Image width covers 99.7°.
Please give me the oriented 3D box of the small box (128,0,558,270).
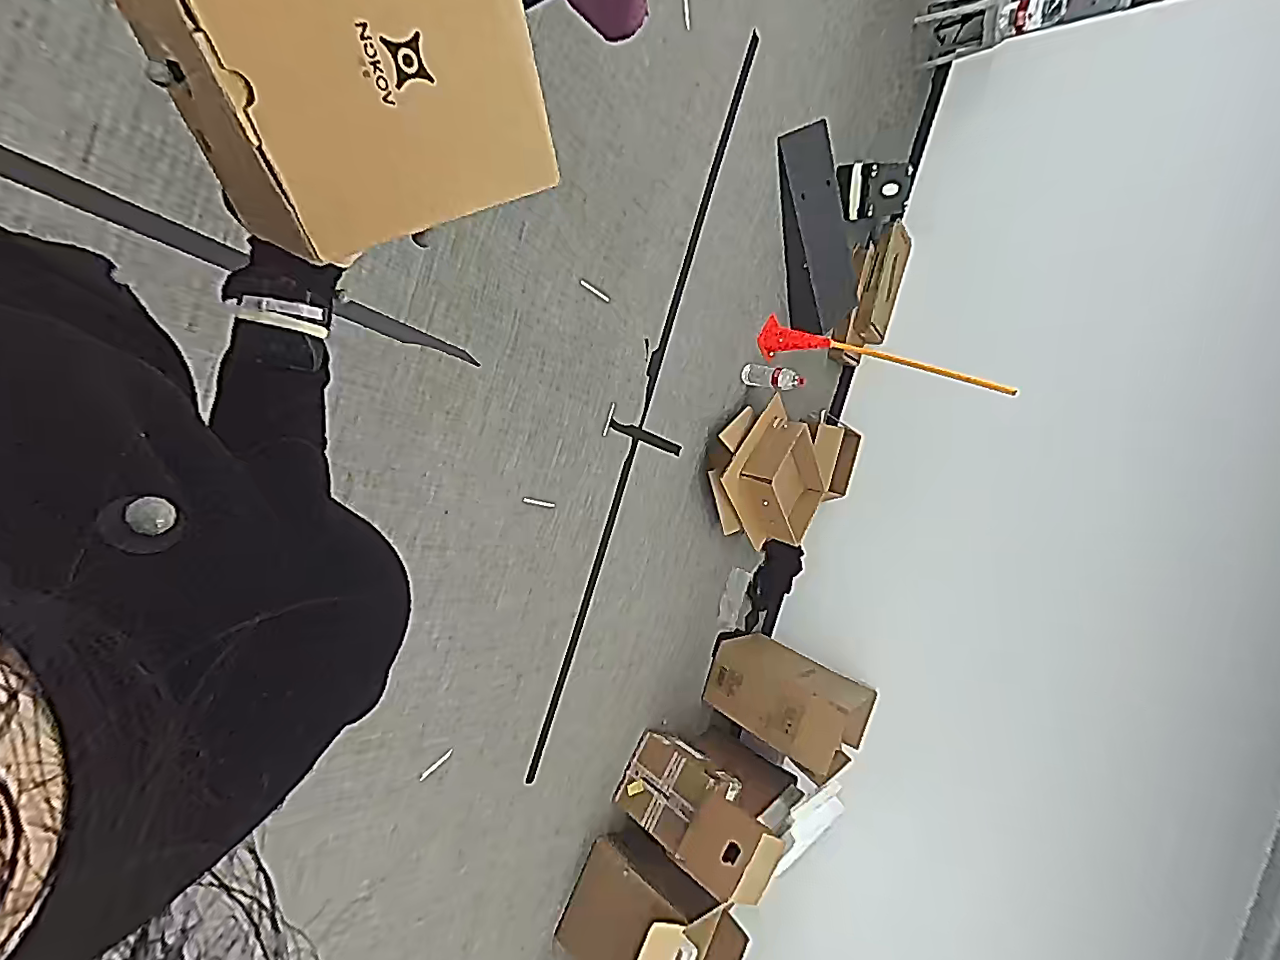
[{"bbox_3d":[-0.186,-0.261,0.355,0.179,0.176,0.168,-36,136,-27],"label":"small box"}]
